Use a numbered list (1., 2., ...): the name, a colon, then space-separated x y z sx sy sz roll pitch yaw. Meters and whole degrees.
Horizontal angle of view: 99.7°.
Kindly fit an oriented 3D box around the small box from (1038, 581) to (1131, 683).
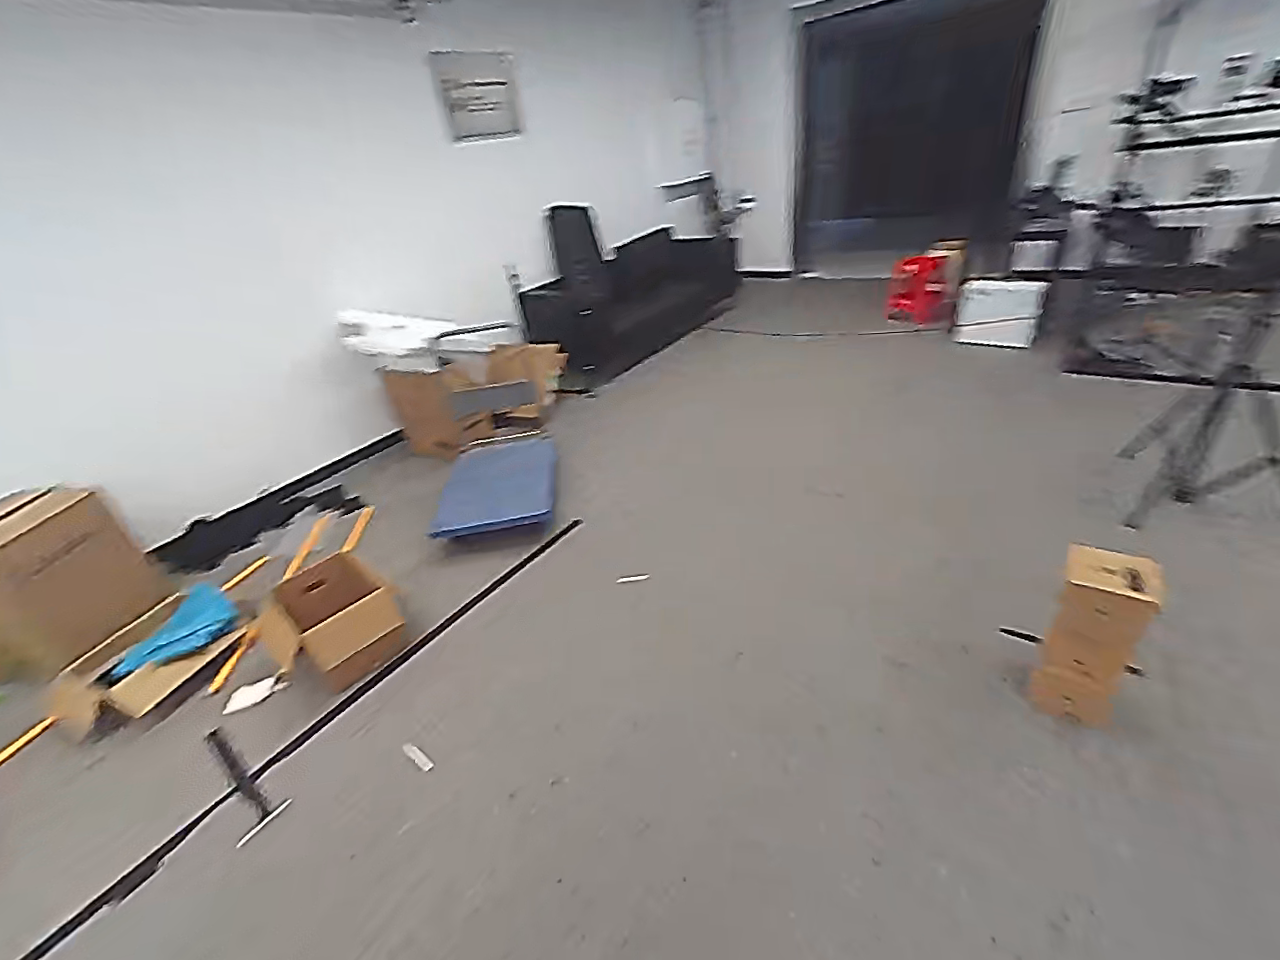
1. small box: 1.230 0.419 1.499 0.168 0.176 0.179 15 39 35

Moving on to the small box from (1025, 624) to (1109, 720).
1. small box: 1.245 0.561 1.578 0.168 0.176 0.179 14 37 33
